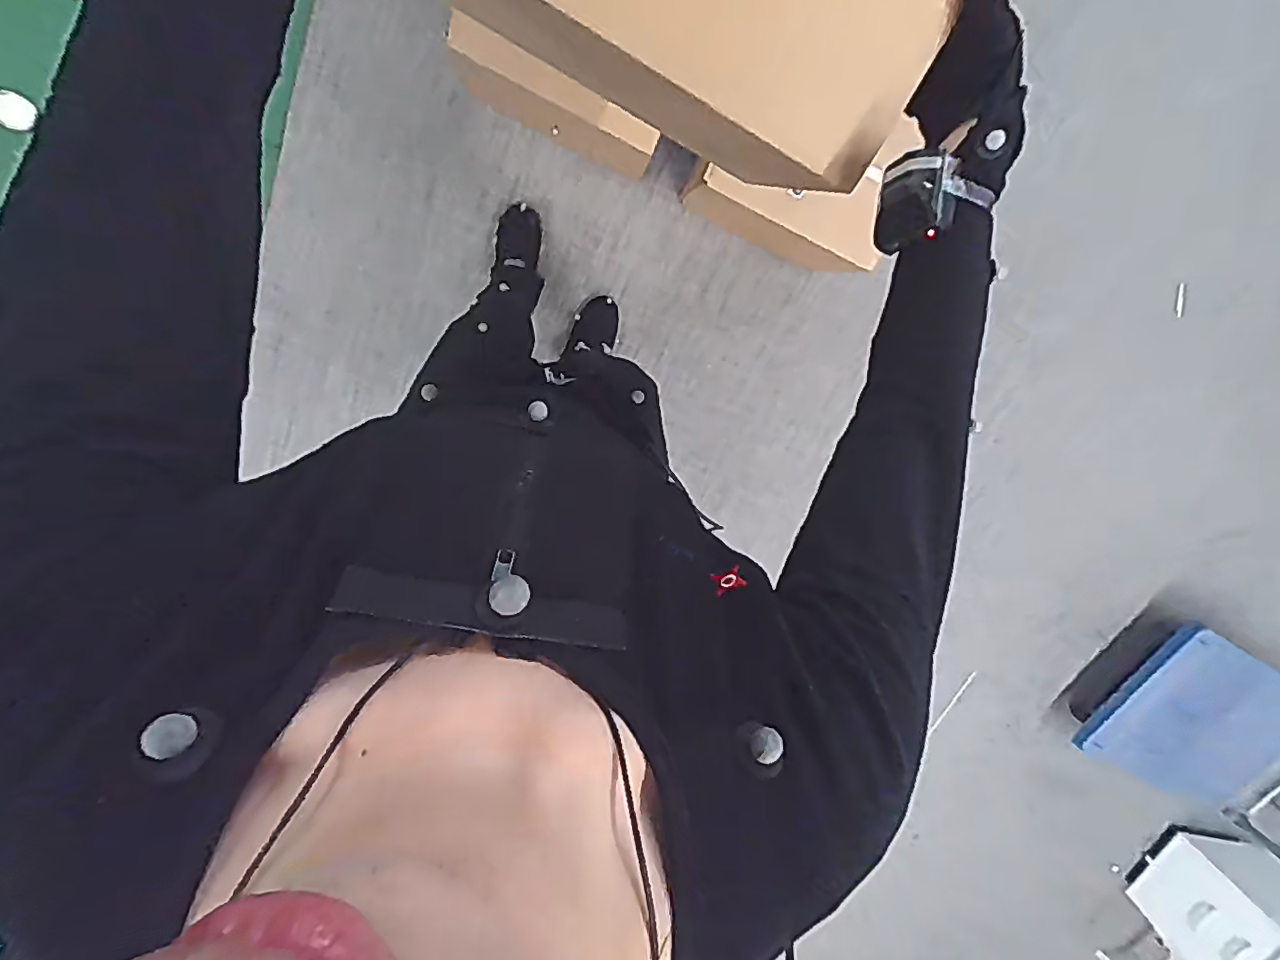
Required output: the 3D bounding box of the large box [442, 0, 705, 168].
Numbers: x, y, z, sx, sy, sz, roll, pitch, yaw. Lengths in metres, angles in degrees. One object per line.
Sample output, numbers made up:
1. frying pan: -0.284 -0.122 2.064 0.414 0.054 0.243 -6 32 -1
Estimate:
1. large box: -0.113 -0.887 1.072 0.408 0.320 0.320 22 107 -12
